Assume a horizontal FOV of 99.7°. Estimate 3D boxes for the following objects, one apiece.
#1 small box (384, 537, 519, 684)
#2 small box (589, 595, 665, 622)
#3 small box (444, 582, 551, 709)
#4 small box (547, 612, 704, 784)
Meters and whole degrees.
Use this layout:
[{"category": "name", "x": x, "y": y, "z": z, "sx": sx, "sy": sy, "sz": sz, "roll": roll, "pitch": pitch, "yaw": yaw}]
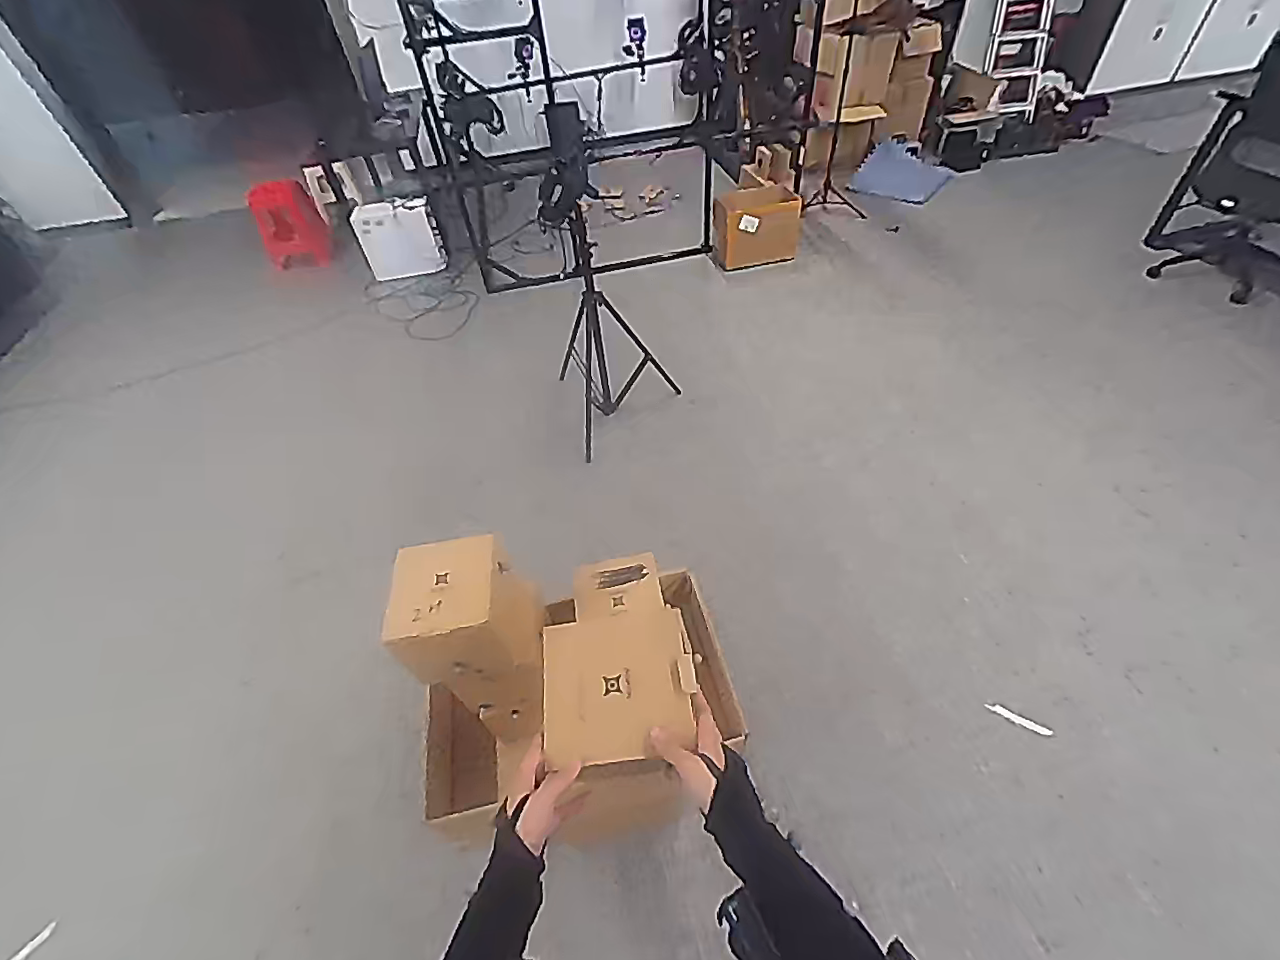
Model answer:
[{"category": "small box", "x": -0.310, "y": 0.224, "z": 0.928, "sx": 0.168, "sy": 0.176, "sz": 0.179, "roll": -9, "pitch": 48, "yaw": -2}, {"category": "small box", "x": -0.012, "y": 0.386, "z": 1.196, "sx": 0.168, "sy": 0.176, "sz": 0.179, "roll": -12, "pitch": 48, "yaw": -4}, {"category": "small box", "x": -0.267, "y": 0.328, "z": 1.053, "sx": 0.168, "sy": 0.176, "sz": 0.179, "roll": -9, "pitch": 47, "yaw": -3}, {"category": "small box", "x": -0.013, "y": 0.286, "z": 0.698, "sx": 0.179, "sy": 0.176, "sz": 0.168, "roll": -9, "pitch": 55, "yaw": 4}]
